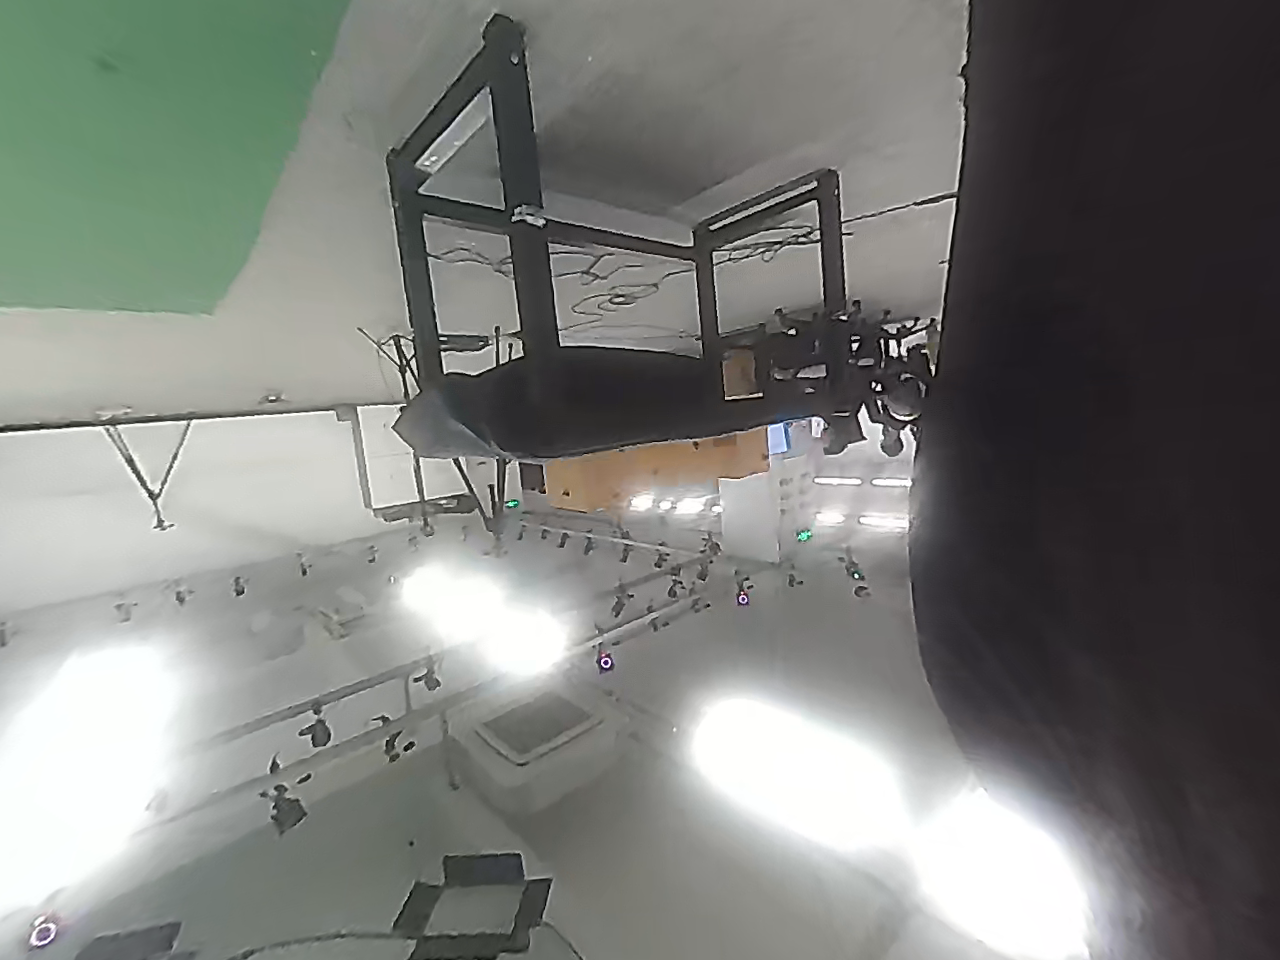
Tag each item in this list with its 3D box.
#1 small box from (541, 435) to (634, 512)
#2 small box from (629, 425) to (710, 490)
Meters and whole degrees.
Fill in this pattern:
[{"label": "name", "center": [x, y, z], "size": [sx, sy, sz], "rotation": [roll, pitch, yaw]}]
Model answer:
[{"label": "small box", "center": [-0.137, -0.024, 1.372], "size": [0.168, 0.176, 0.179], "rotation": [-11, -170, -40]}, {"label": "small box", "center": [0.082, -0.069, 1.545], "size": [0.168, 0.176, 0.179], "rotation": [-11, -172, -41]}]
